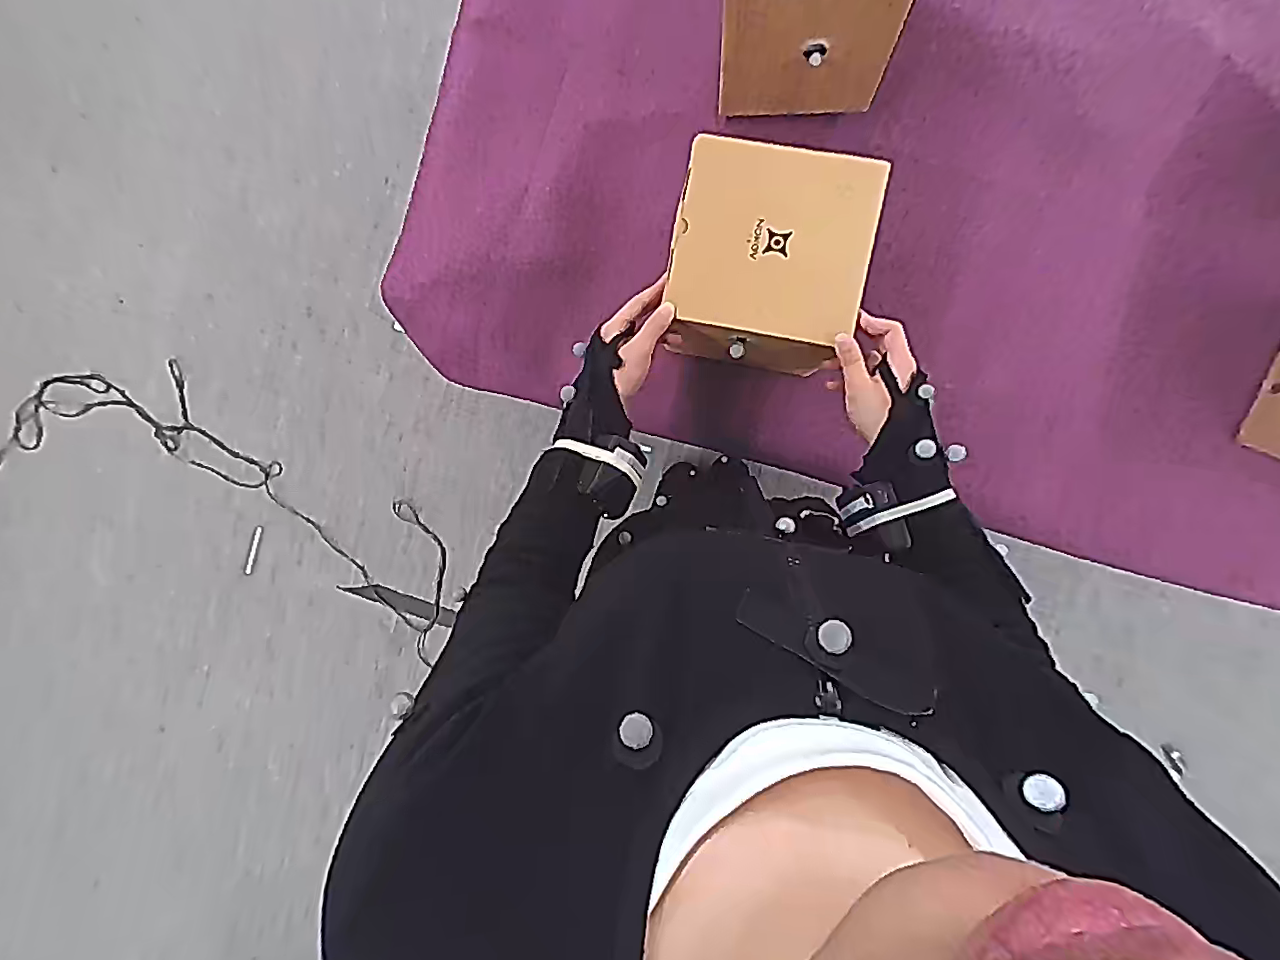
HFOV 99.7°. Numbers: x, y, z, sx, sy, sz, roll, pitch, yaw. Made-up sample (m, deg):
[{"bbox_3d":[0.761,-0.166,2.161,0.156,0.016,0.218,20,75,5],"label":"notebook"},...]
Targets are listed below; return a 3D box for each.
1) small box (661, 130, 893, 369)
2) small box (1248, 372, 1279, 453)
[{"bbox_3d":[0.126,-0.217,0.557,0.179,0.176,0.168,12,94,5],"label":"small box"},{"bbox_3d":[0.756,-0.085,0.501,0.179,0.176,0.168,23,94,4],"label":"small box"}]
